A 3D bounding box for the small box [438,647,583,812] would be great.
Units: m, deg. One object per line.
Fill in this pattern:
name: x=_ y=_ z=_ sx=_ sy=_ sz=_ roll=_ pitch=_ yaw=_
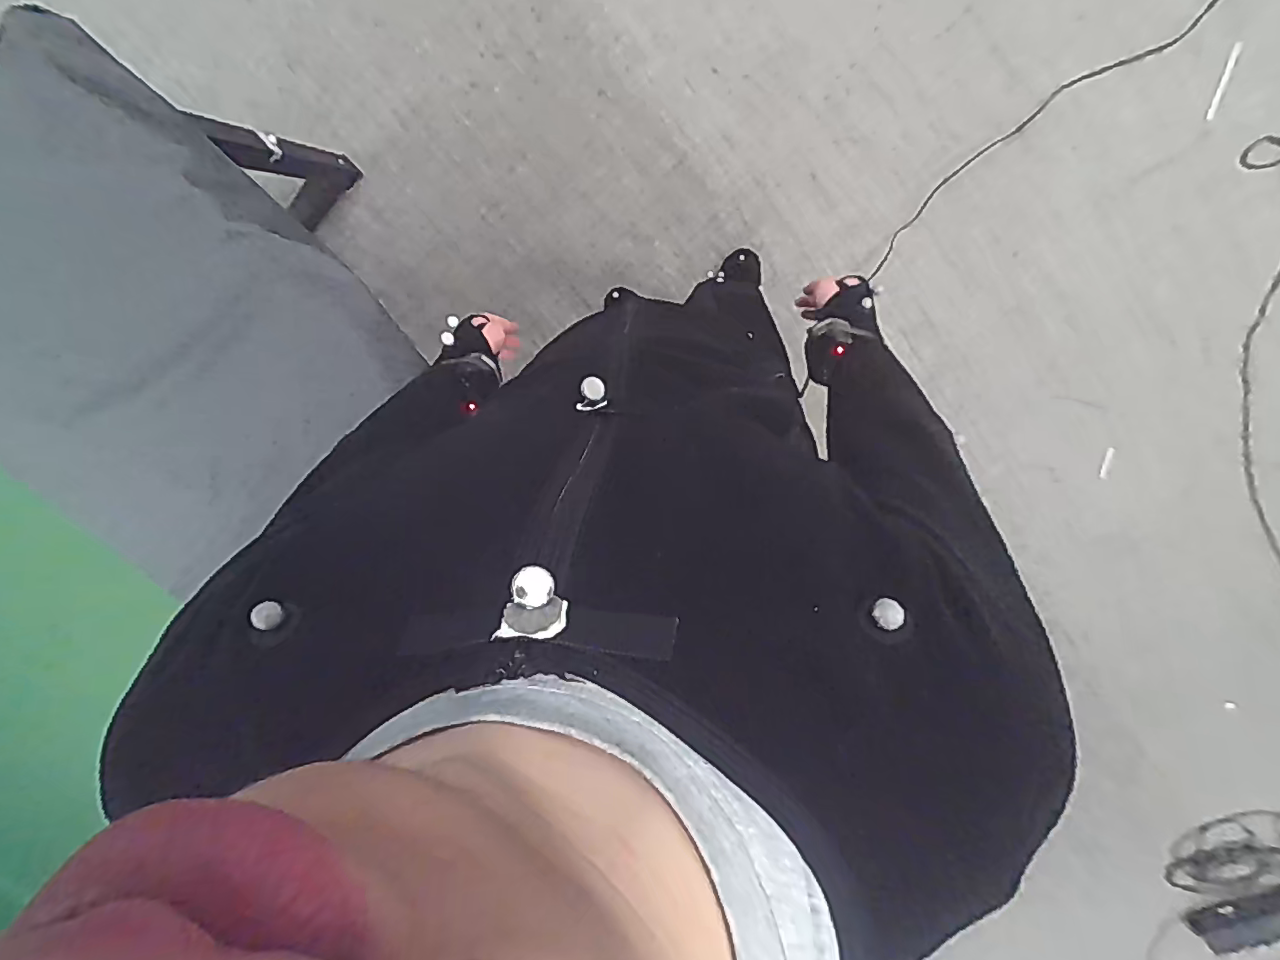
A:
small box: x=-0.216 y=0.435 z=0.961 sx=0.179 sy=0.176 sz=0.168 roll=-41 pitch=105 yaw=17
